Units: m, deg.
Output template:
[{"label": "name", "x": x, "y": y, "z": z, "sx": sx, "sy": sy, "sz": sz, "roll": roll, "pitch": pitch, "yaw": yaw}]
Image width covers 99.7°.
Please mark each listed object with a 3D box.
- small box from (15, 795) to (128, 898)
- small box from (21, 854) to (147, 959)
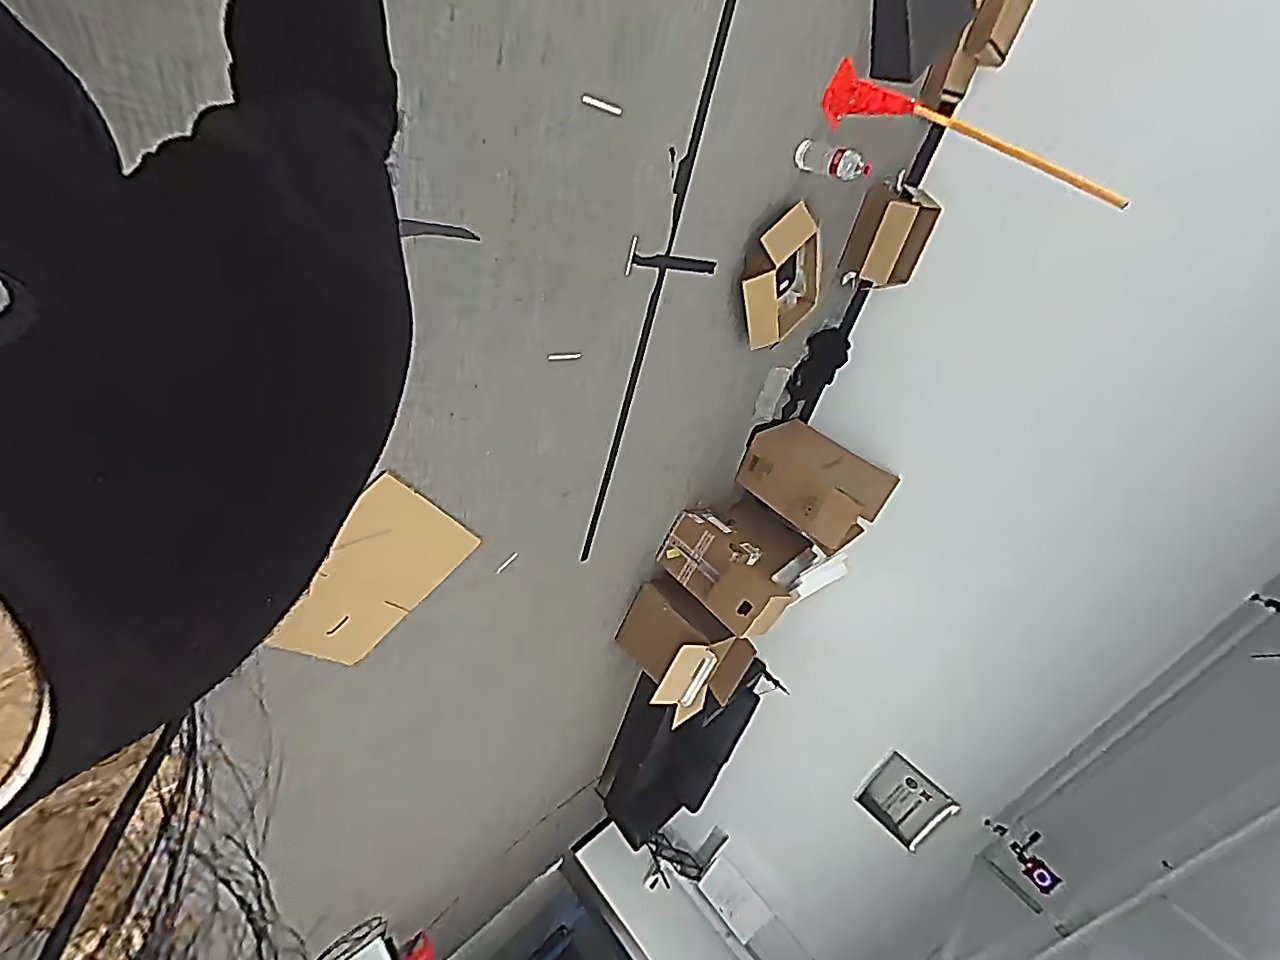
[{"label": "small box", "x": -1.340, "y": 0.888, "z": 1.280, "sx": 0.168, "sy": 0.176, "sz": 0.179, "roll": -11, "pitch": 130, "yaw": -48}, {"label": "small box", "x": -1.232, "y": 0.983, "z": 1.200, "sx": 0.168, "sy": 0.176, "sz": 0.179, "roll": -14, "pitch": 131, "yaw": -45}]
